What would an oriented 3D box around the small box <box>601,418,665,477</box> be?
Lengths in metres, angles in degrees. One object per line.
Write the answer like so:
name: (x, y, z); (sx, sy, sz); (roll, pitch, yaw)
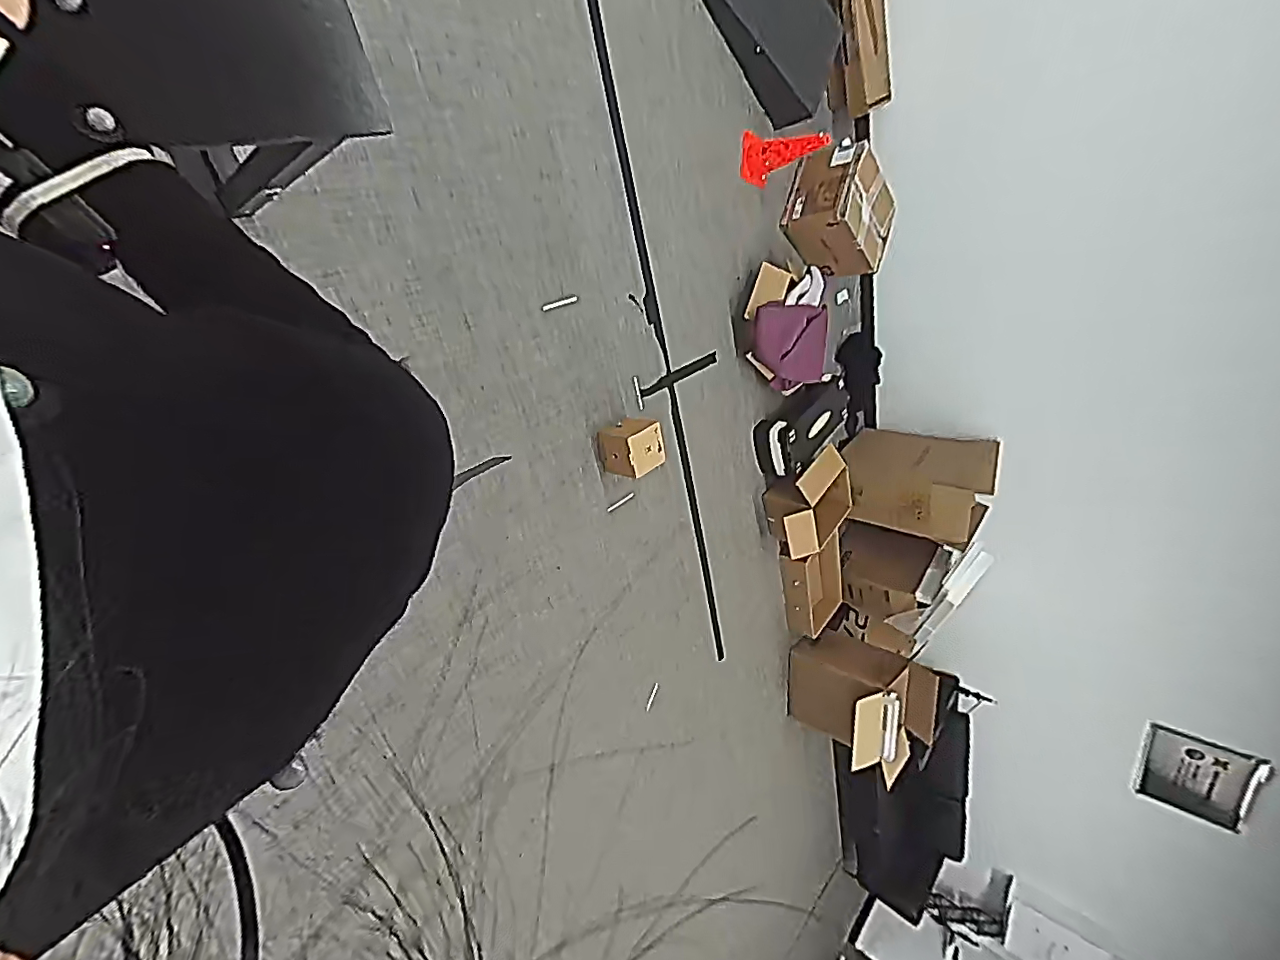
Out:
small box: (-0.033, -0.130, 2.062); (0.179, 0.176, 0.168); (-31, 121, -37)
